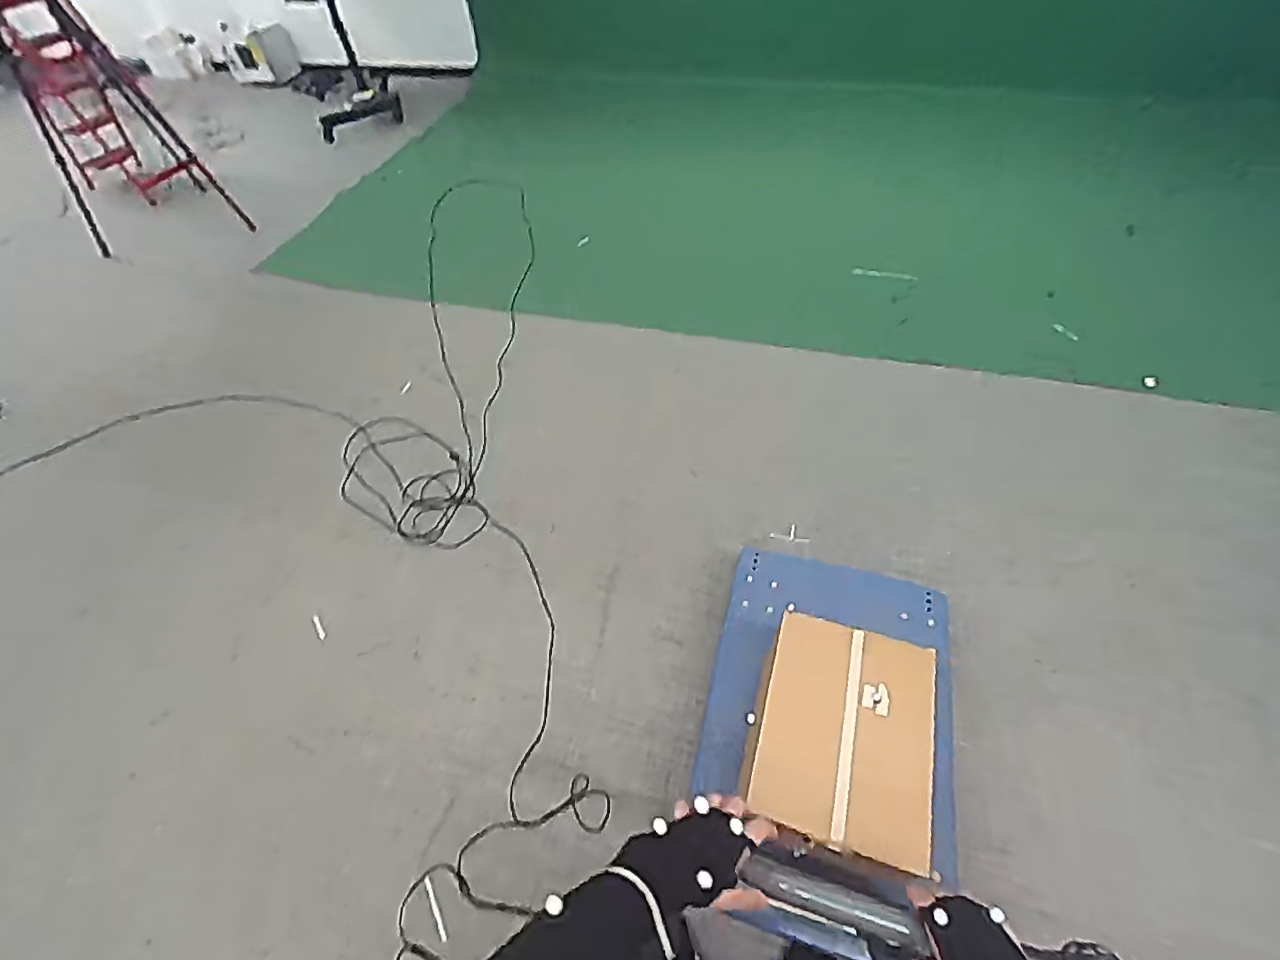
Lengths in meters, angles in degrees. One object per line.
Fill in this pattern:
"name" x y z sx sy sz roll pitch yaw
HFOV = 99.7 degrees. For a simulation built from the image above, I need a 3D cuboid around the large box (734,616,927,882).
"large box" 0.400 0.574 1.164 0.320 0.320 0.408 14 54 13
